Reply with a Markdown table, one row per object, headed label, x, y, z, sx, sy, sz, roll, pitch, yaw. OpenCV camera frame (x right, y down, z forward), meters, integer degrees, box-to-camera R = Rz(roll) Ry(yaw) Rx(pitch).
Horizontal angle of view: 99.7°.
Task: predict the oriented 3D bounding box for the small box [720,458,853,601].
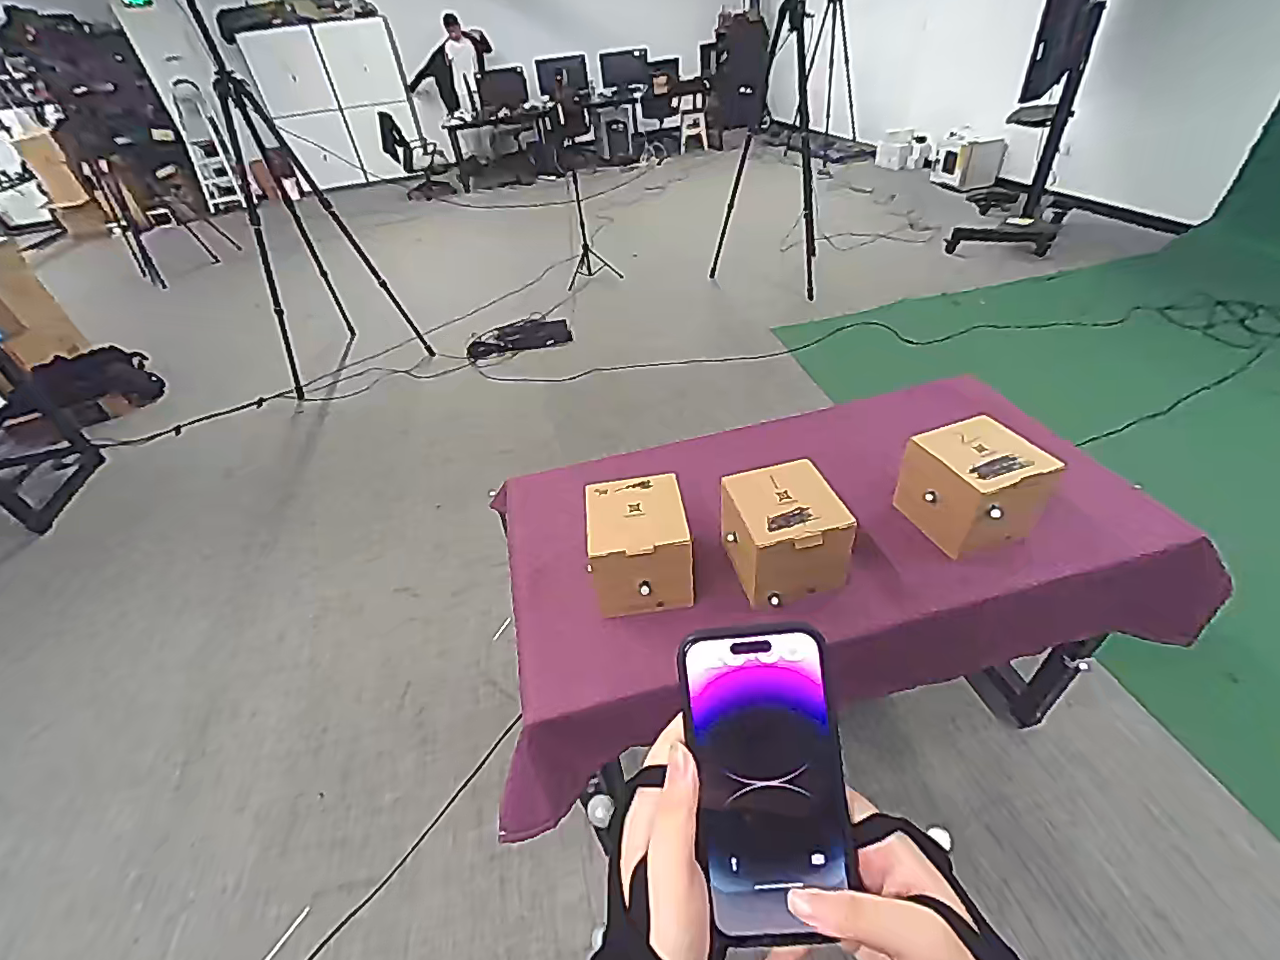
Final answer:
| label | x | y | z | sx | sy | sz | roll | pitch | yaw |
| --- | --- | --- | --- | --- | --- | --- | --- | --- | --- |
| small box | 0.247 | 0.091 | 0.946 | 0.168 | 0.176 | 0.179 | -13 | 40 | -6 |

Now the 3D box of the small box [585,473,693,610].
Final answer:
| label | x | y | z | sx | sy | sz | roll | pitch | yaw |
| --- | --- | --- | --- | --- | --- | --- | --- | --- | --- |
| small box | -0.002 | 0.115 | 0.960 | 0.168 | 0.176 | 0.179 | -8 | 41 | 0 |
